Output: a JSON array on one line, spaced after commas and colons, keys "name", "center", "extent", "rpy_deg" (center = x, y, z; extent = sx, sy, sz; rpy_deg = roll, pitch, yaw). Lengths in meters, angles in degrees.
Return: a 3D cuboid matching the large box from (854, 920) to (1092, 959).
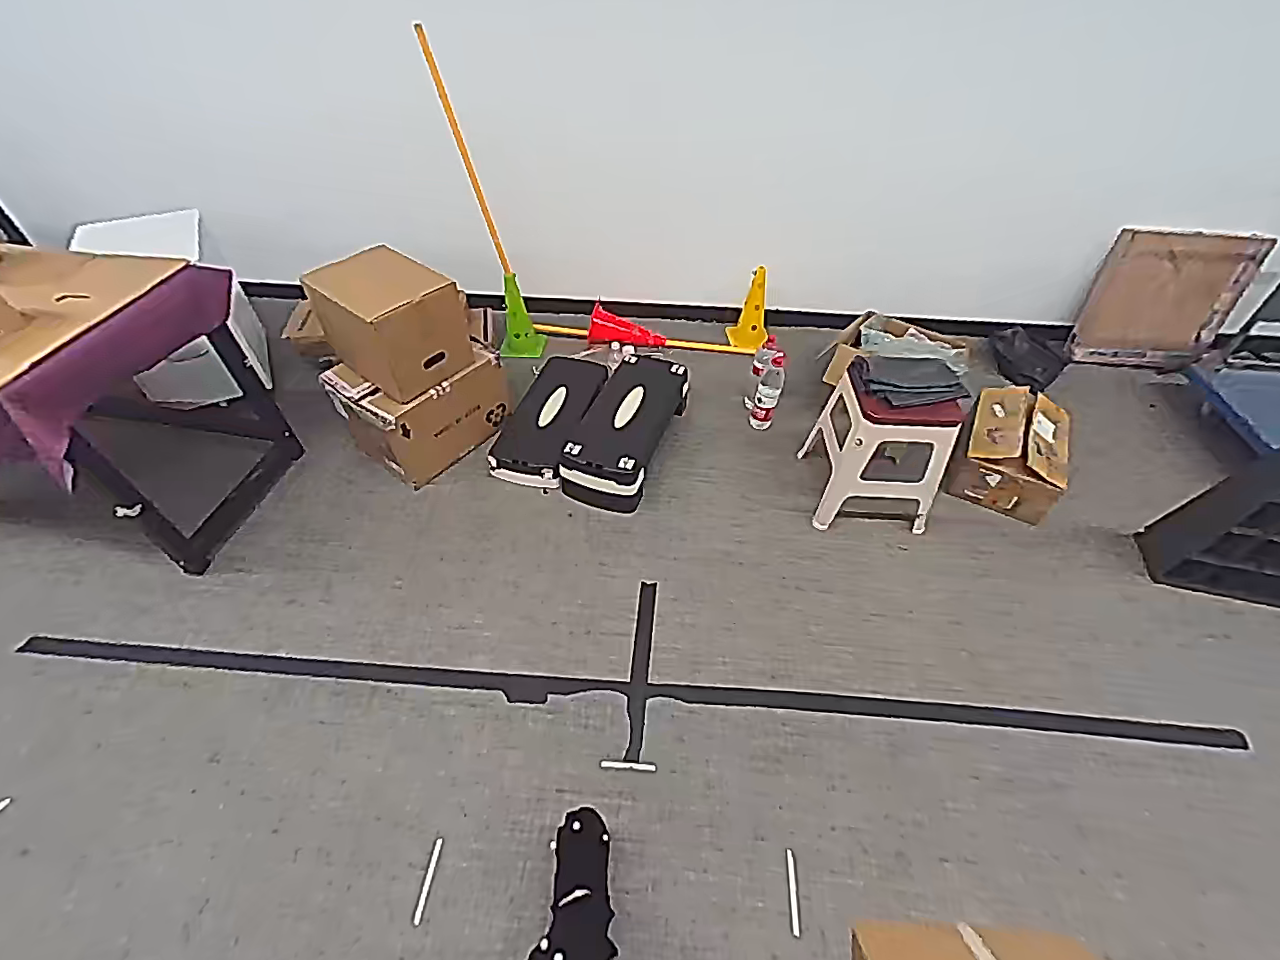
[{"name": "large box", "center": [0.446, 0.782, 0.574], "extent": [0.320, 0.408, 0.320], "rpy_deg": [0, 85, 5]}]
